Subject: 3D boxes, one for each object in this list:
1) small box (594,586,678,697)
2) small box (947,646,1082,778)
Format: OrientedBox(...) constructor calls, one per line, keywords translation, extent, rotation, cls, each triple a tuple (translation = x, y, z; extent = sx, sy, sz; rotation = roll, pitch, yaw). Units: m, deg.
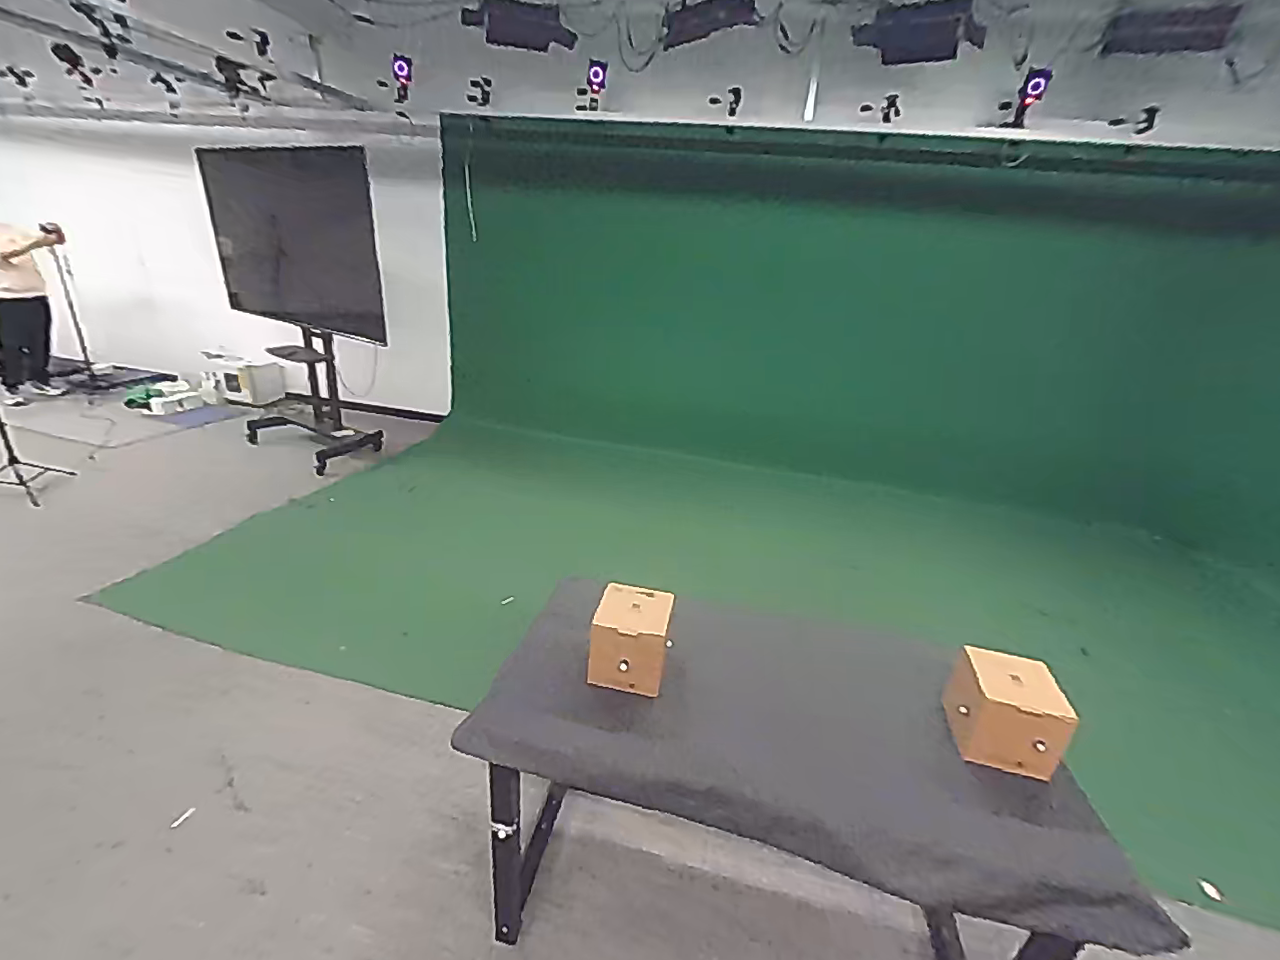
OrientedBox(translation=(-0.010, 0.377, 1.272), extent=(0.168, 0.176, 0.179), rotation=(9, 22, 8), cls="small box")
OrientedBox(translation=(0.781, 0.490, 1.148), extent=(0.168, 0.176, 0.179), rotation=(11, 21, 12), cls="small box")
